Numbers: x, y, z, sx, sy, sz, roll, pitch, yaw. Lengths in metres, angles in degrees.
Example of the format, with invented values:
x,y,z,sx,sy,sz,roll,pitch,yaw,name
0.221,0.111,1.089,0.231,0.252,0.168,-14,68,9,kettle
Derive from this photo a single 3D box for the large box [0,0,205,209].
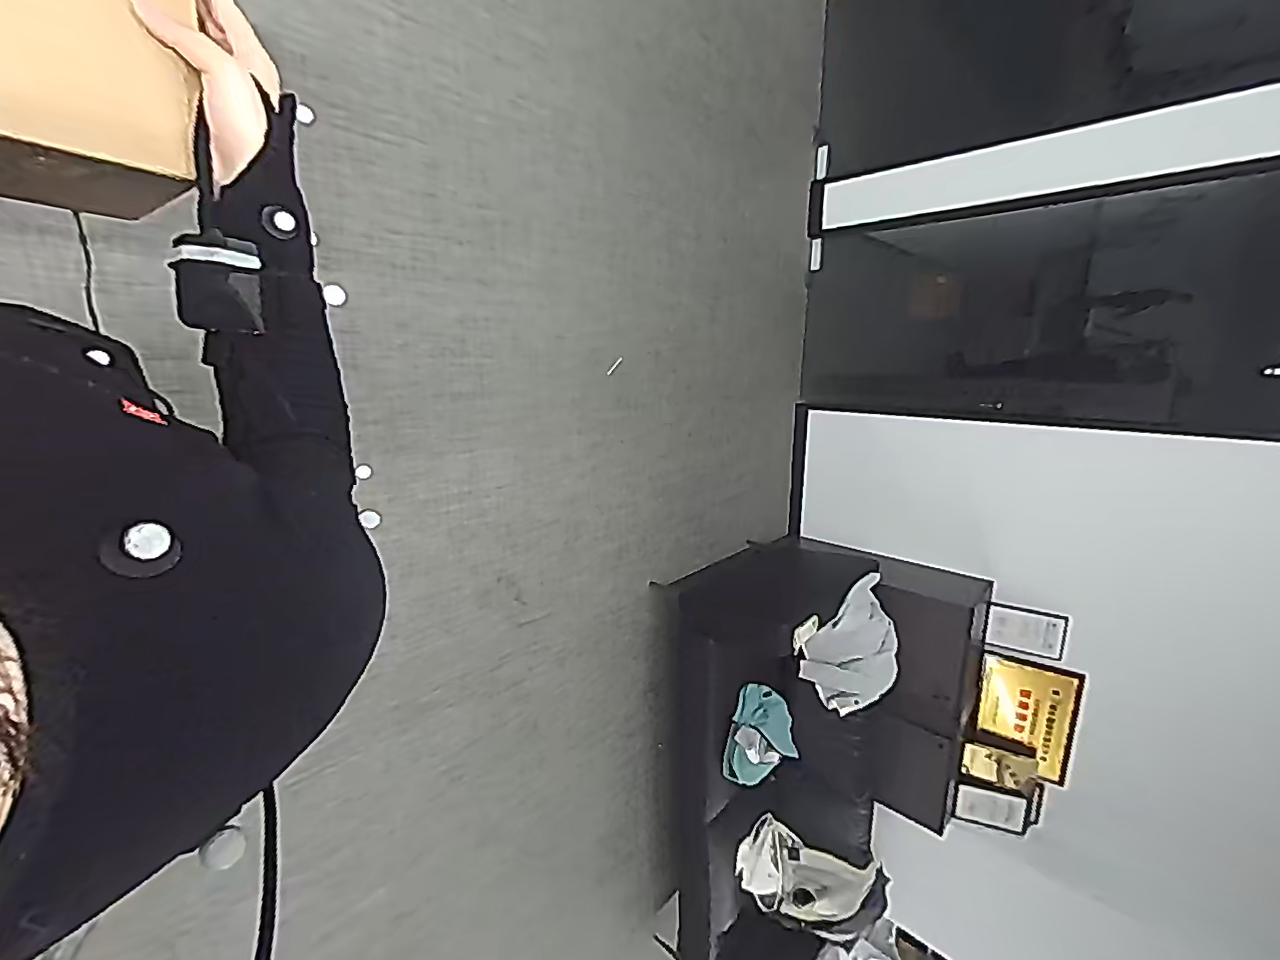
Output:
x,y,z,sx,sy,sz,roll,pitch,yaw,name
-0.542,-0.374,0.296,0.408,0.320,0.320,-11,111,-49,large box
